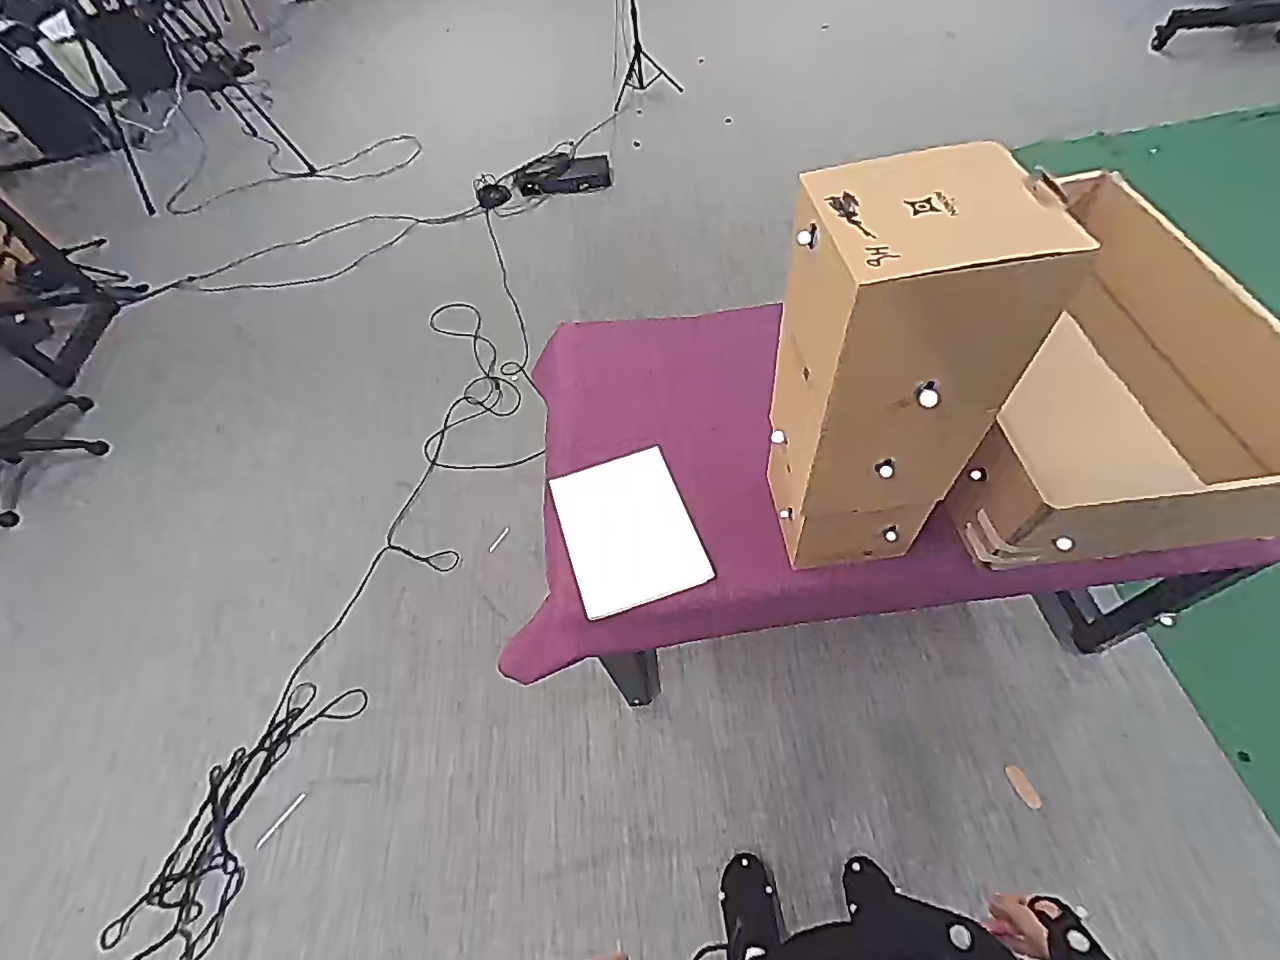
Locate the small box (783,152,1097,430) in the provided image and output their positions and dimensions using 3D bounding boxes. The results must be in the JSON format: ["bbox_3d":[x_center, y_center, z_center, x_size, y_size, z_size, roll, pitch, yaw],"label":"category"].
[{"bbox_3d":[0.243,-0.165,0.497,0.179,0.176,0.168,-7,54,2],"label":"small box"}]

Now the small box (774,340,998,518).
[{"bbox_3d":[0.264,-0.072,0.631,0.179,0.176,0.168,-8,54,4],"label":"small box"}]
